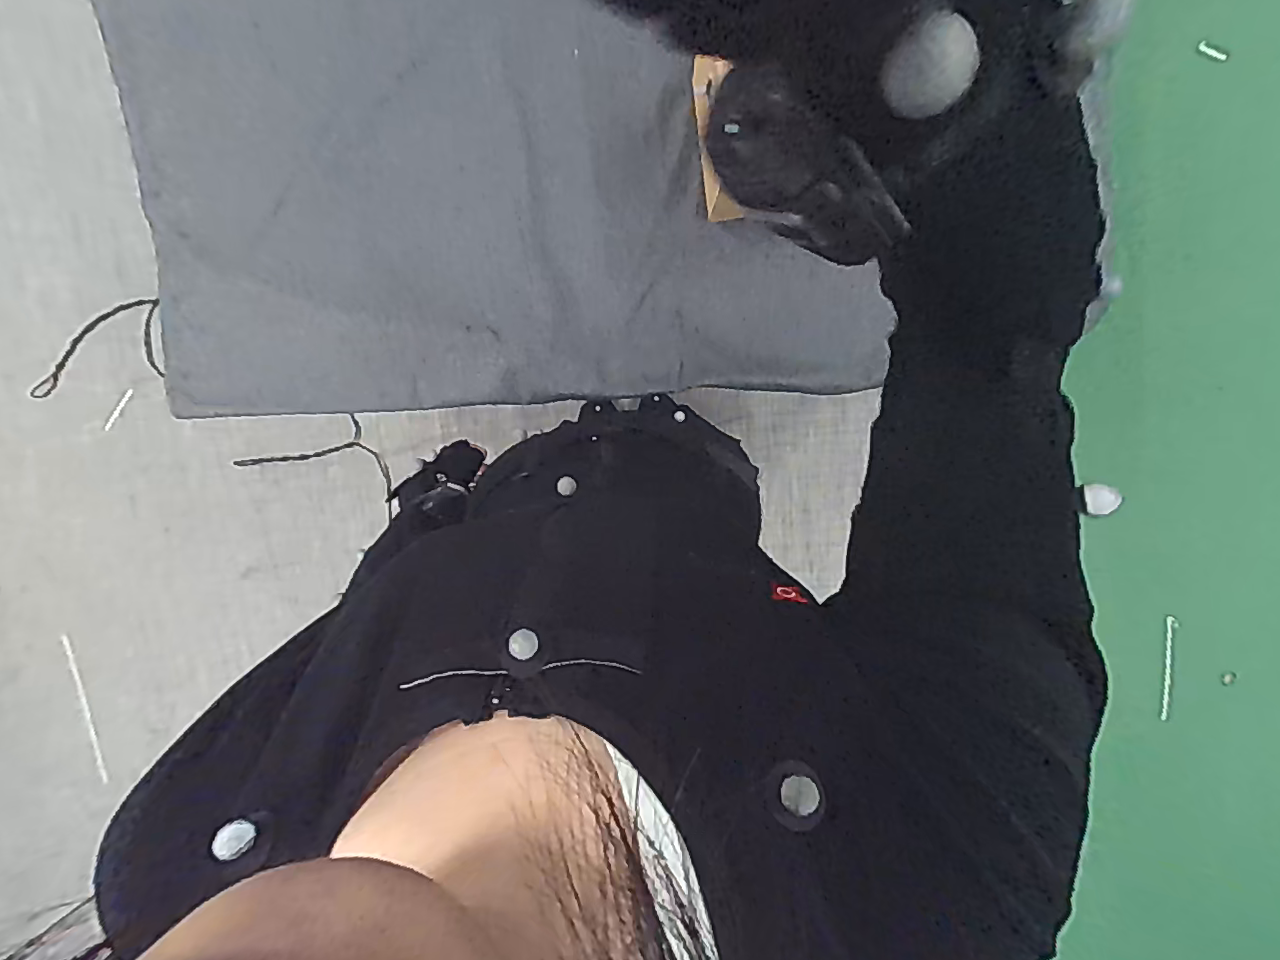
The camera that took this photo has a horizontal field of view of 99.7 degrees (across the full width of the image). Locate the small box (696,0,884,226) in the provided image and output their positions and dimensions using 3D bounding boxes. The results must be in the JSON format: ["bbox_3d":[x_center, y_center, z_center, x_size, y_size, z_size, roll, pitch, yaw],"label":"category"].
[{"bbox_3d":[0.158,-0.418,0.620,0.168,0.176,0.179,-7,98,2],"label":"small box"}]
